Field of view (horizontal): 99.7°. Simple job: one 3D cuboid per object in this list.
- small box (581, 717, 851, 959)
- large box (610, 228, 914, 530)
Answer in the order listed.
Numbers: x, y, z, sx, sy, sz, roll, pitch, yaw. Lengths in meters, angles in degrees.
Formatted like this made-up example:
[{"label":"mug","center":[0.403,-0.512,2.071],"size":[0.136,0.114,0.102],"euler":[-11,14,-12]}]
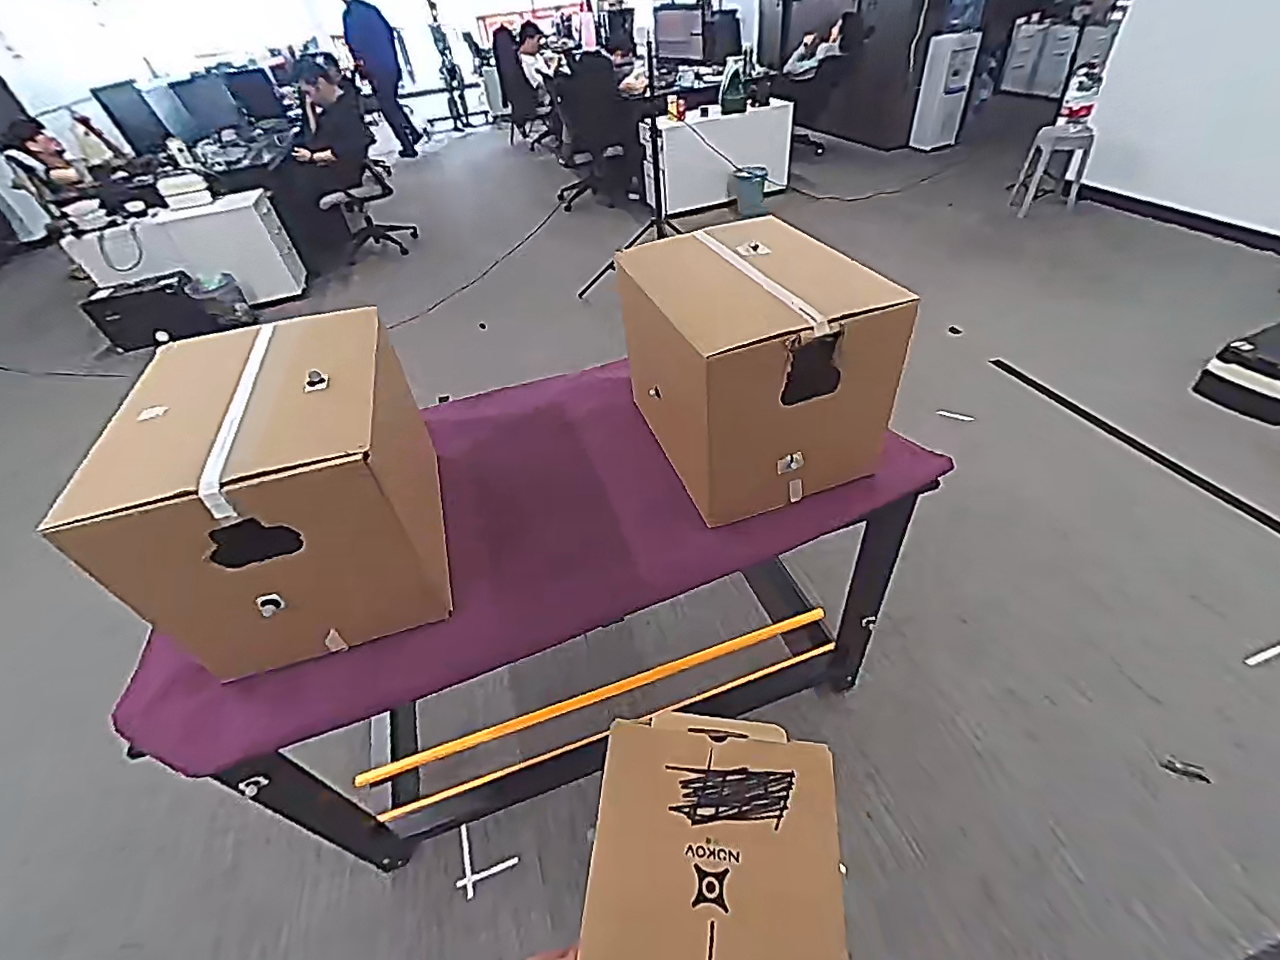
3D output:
[{"label":"small box","center":[0.057,0.307,0.420],"size":[0.168,0.176,0.179],"euler":[3,52,8]},{"label":"large box","center":[0.174,-0.188,0.922],"size":[0.320,0.320,0.408],"euler":[-17,42,-10]}]
